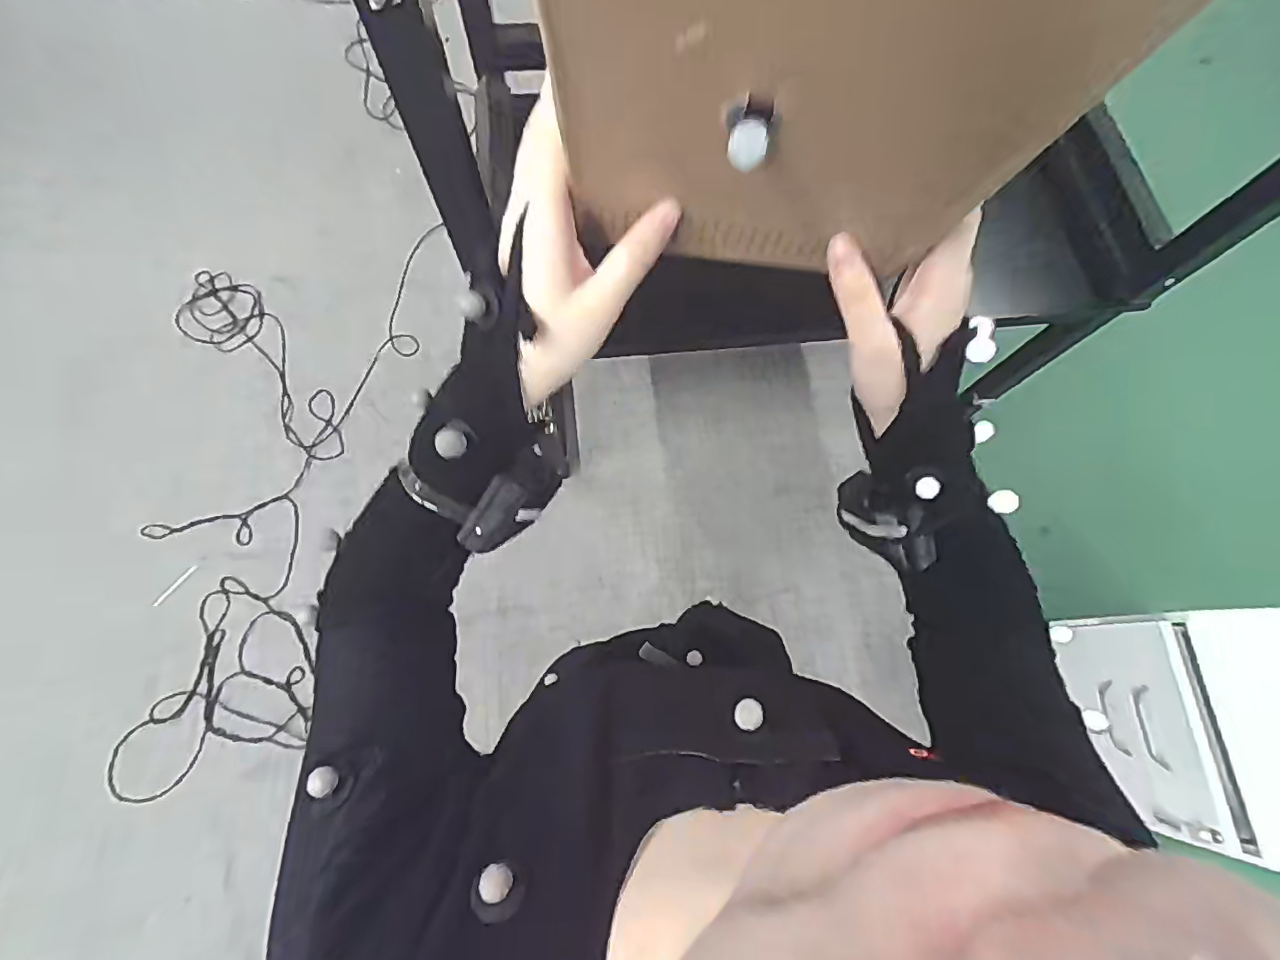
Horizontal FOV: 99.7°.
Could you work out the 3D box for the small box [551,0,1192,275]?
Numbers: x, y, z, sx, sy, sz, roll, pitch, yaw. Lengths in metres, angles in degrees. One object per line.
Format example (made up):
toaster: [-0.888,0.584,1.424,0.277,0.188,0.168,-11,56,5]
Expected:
small box: [0.063,-0.198,0.210,0.179,0.176,0.168,6,87,0]
